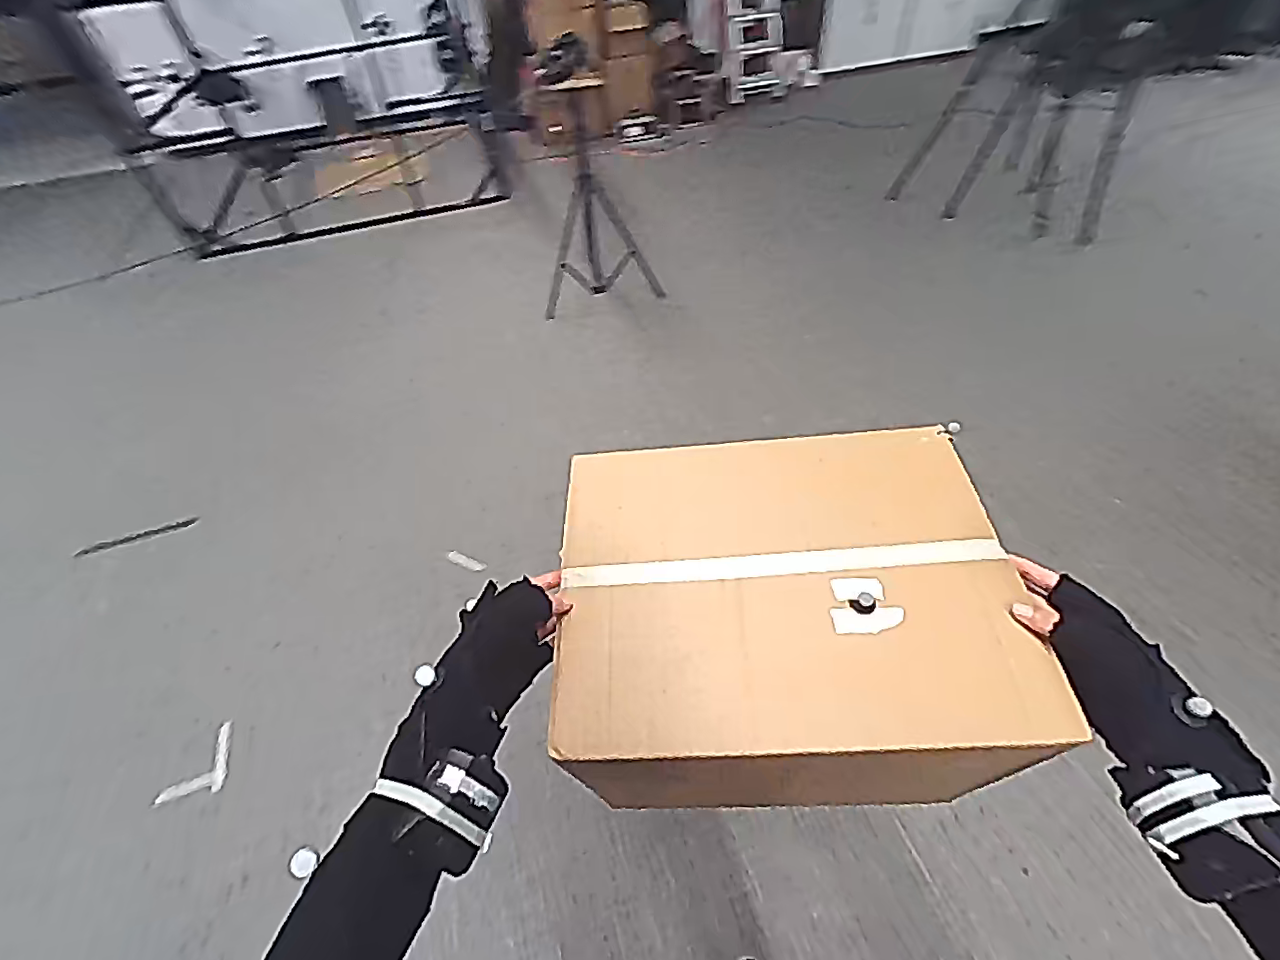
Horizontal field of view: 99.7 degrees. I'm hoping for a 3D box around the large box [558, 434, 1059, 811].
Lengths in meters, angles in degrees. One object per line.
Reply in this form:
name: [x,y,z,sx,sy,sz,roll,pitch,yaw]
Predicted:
large box: [0.137,0.179,0.633,0.408,0.320,0.320,-5,52,4]
